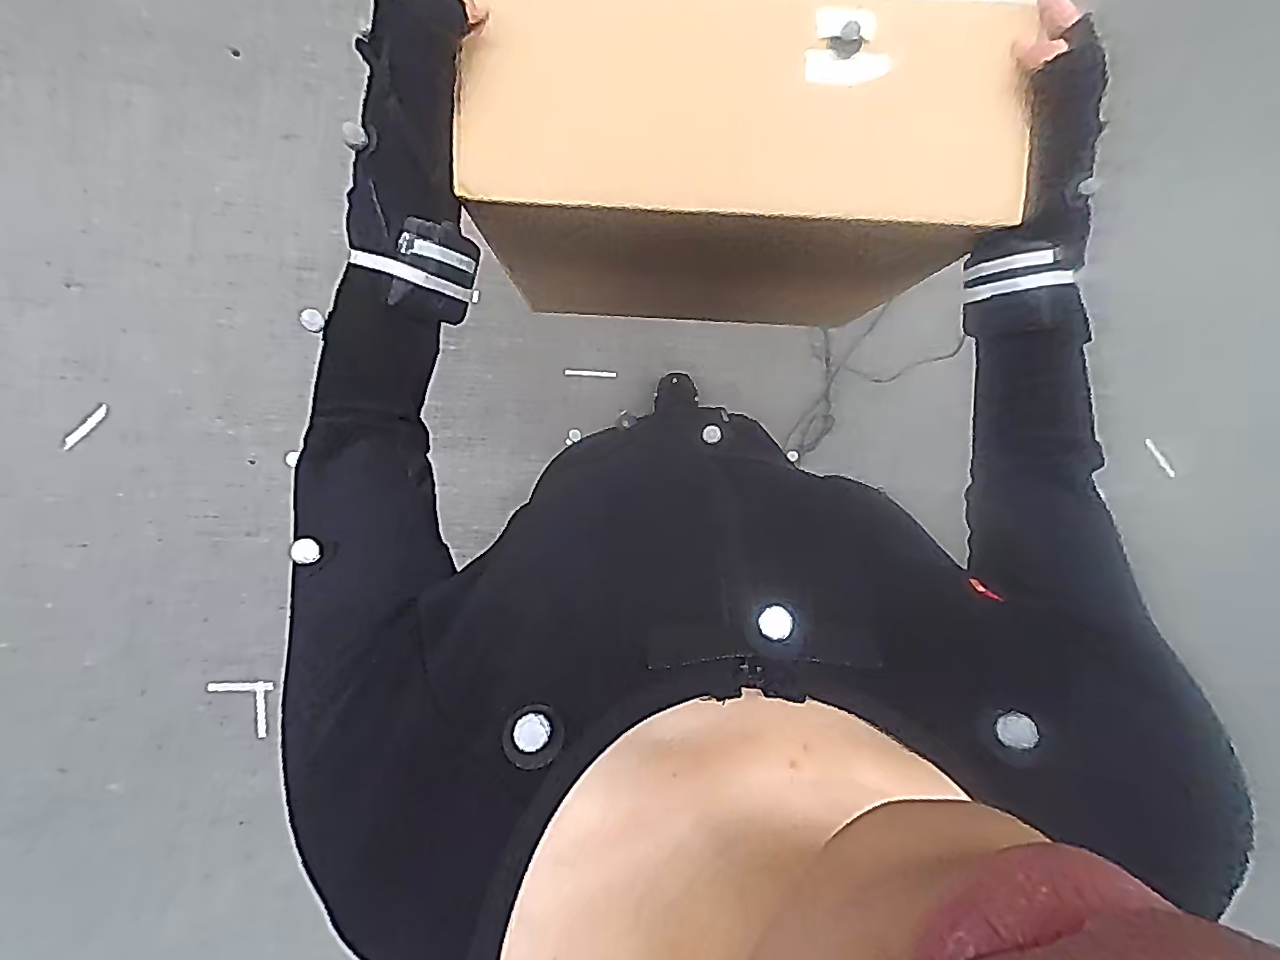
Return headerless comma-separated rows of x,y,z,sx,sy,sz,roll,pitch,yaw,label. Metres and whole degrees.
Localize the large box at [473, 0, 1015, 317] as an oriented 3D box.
0.072,-0.359,0.541,0.408,0.320,0.320,2,93,-2,large box
